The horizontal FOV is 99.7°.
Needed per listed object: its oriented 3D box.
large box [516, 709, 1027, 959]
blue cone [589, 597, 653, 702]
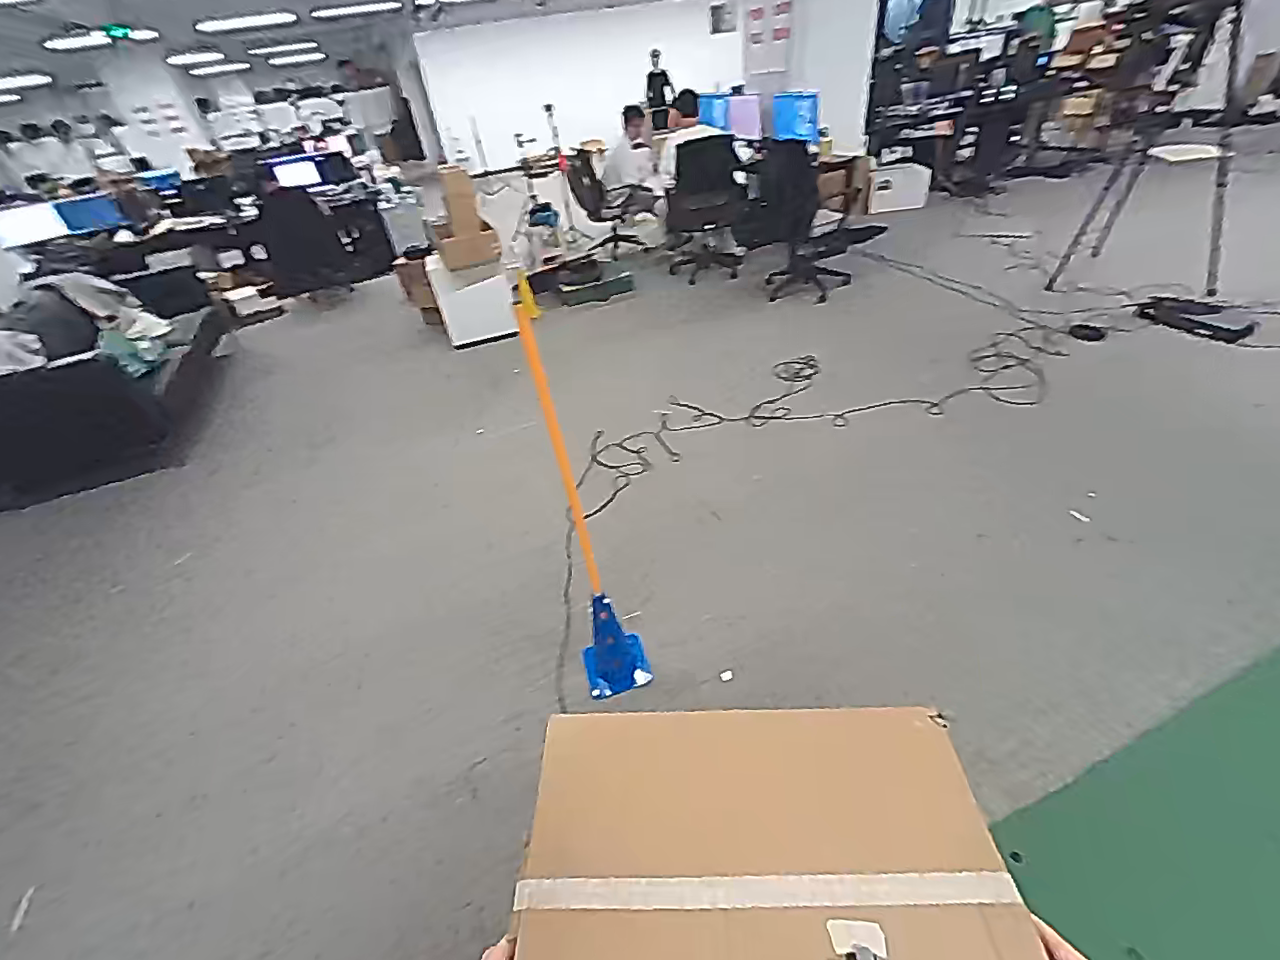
[{"bbox_3d":[0.103,0.463,0.545,0.408,0.320,0.320,-2,39,1],"label":"large box"},{"bbox_3d":[-0.088,0.488,1.661,0.193,0.380,0.192,-14,38,-7],"label":"blue cone"}]
